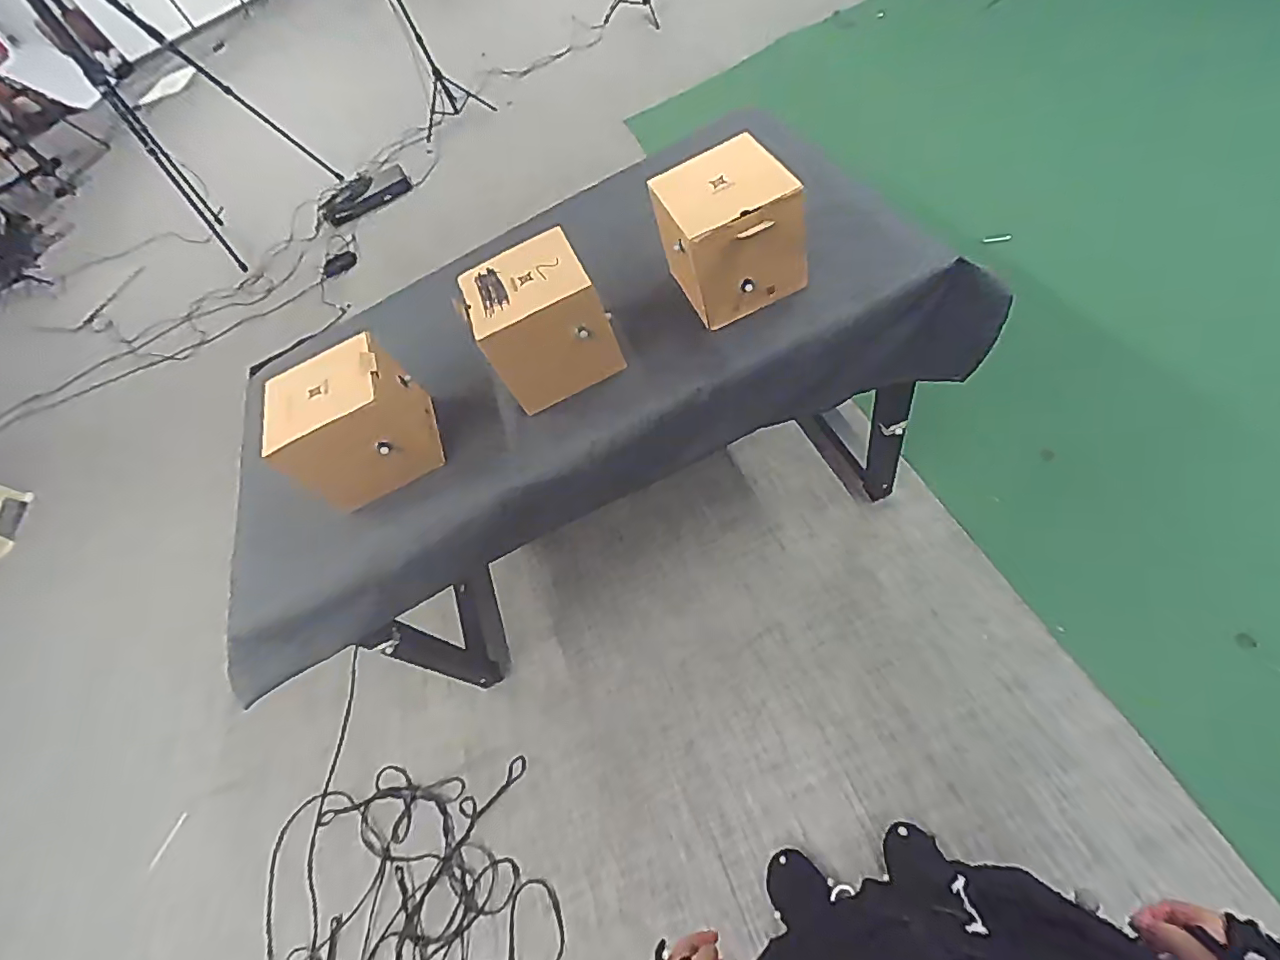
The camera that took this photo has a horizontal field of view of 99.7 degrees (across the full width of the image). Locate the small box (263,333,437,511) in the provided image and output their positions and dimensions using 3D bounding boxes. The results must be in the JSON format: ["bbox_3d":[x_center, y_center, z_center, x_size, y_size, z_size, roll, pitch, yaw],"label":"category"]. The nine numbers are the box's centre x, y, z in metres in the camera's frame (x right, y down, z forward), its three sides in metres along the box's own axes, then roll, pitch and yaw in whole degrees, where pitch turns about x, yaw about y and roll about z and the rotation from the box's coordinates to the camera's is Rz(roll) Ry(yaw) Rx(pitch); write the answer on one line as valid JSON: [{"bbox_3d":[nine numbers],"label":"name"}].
[{"bbox_3d":[-0.432,-0.083,0.830,0.179,0.176,0.168,-28,54,1],"label":"small box"}]

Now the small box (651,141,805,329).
[{"bbox_3d":[0.135,-0.366,0.821,0.168,0.176,0.179,-25,56,2],"label":"small box"}]
